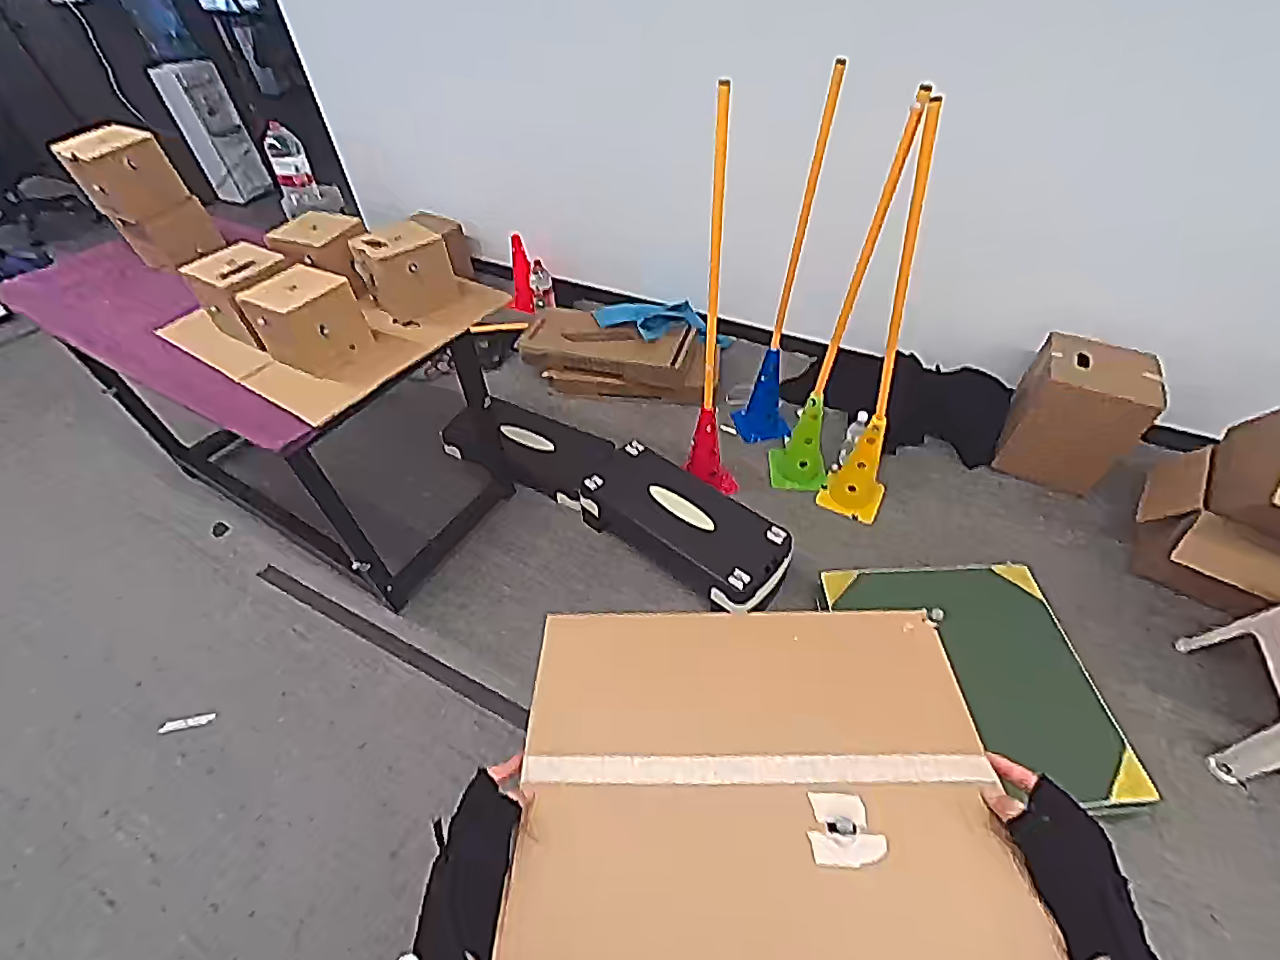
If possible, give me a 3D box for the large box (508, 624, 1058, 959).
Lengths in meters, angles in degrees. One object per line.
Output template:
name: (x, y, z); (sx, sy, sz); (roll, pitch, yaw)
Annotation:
large box: (0.107, 0.371, 0.578); (0.408, 0.320, 0.320); (-1, 45, 3)
